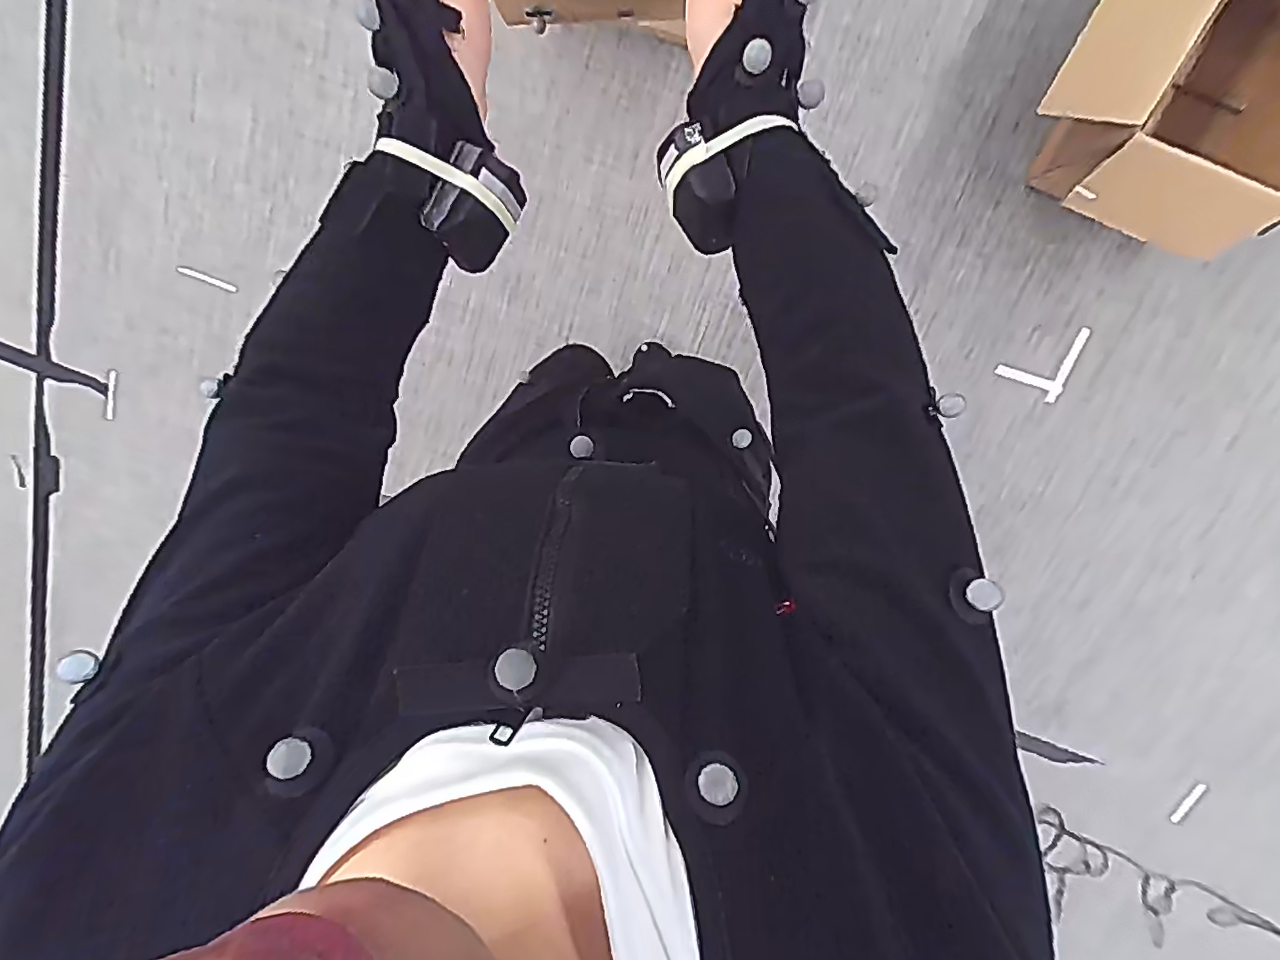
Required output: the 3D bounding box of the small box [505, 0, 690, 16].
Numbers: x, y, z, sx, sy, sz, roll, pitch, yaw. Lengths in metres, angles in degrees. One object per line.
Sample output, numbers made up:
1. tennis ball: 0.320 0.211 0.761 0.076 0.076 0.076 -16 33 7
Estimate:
1. small box: -0.037 -0.447 0.364 0.168 0.176 0.179 -2 113 0
